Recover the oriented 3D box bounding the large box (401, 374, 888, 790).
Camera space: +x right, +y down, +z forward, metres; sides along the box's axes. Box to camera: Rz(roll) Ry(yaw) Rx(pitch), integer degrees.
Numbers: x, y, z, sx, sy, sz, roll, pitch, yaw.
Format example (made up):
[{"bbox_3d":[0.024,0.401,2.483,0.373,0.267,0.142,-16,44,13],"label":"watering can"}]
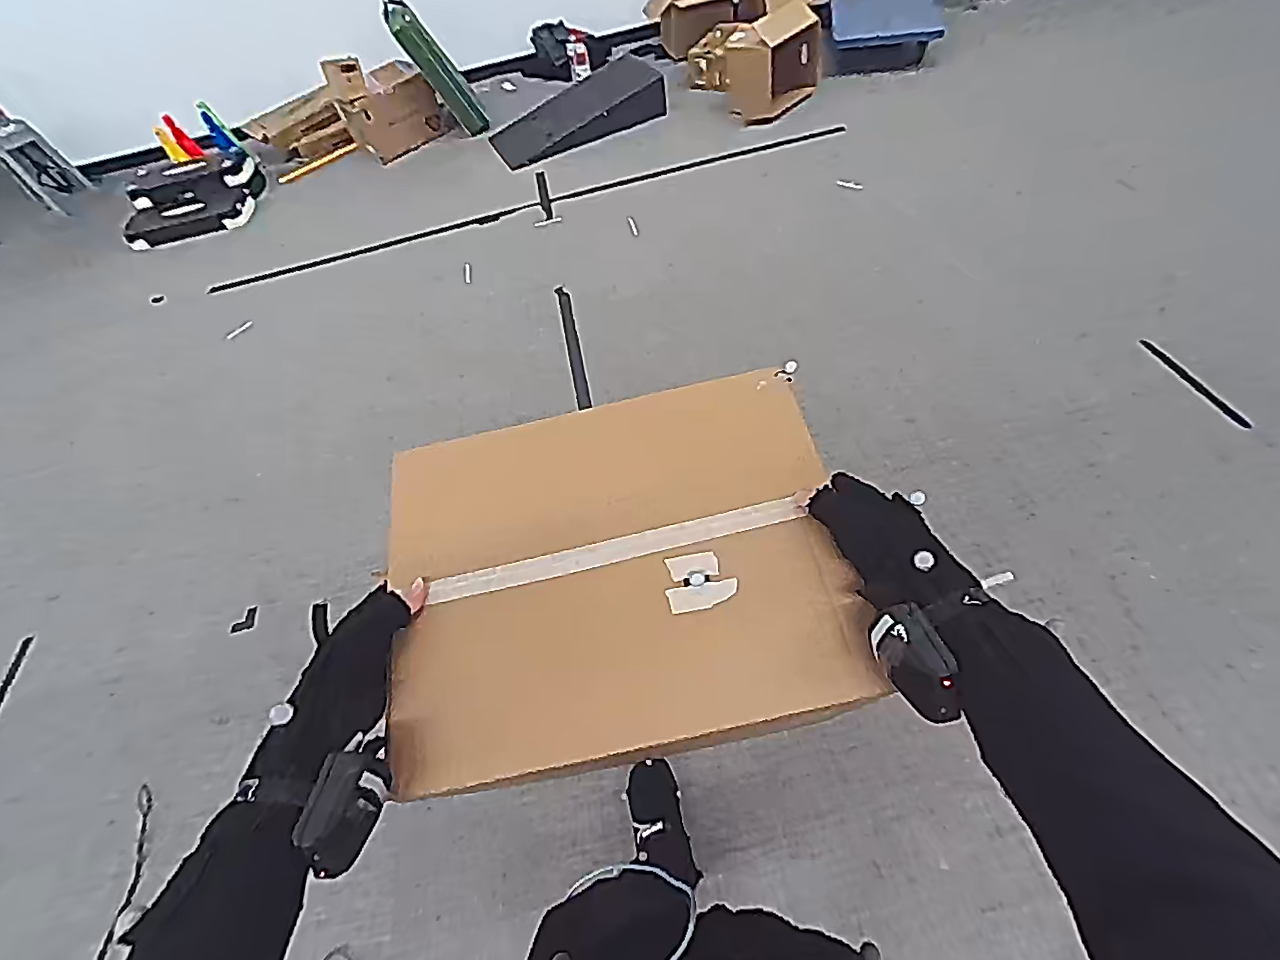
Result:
[{"bbox_3d":[-0.011,0.134,0.625,0.408,0.320,0.320,-13,62,0],"label":"large box"}]
